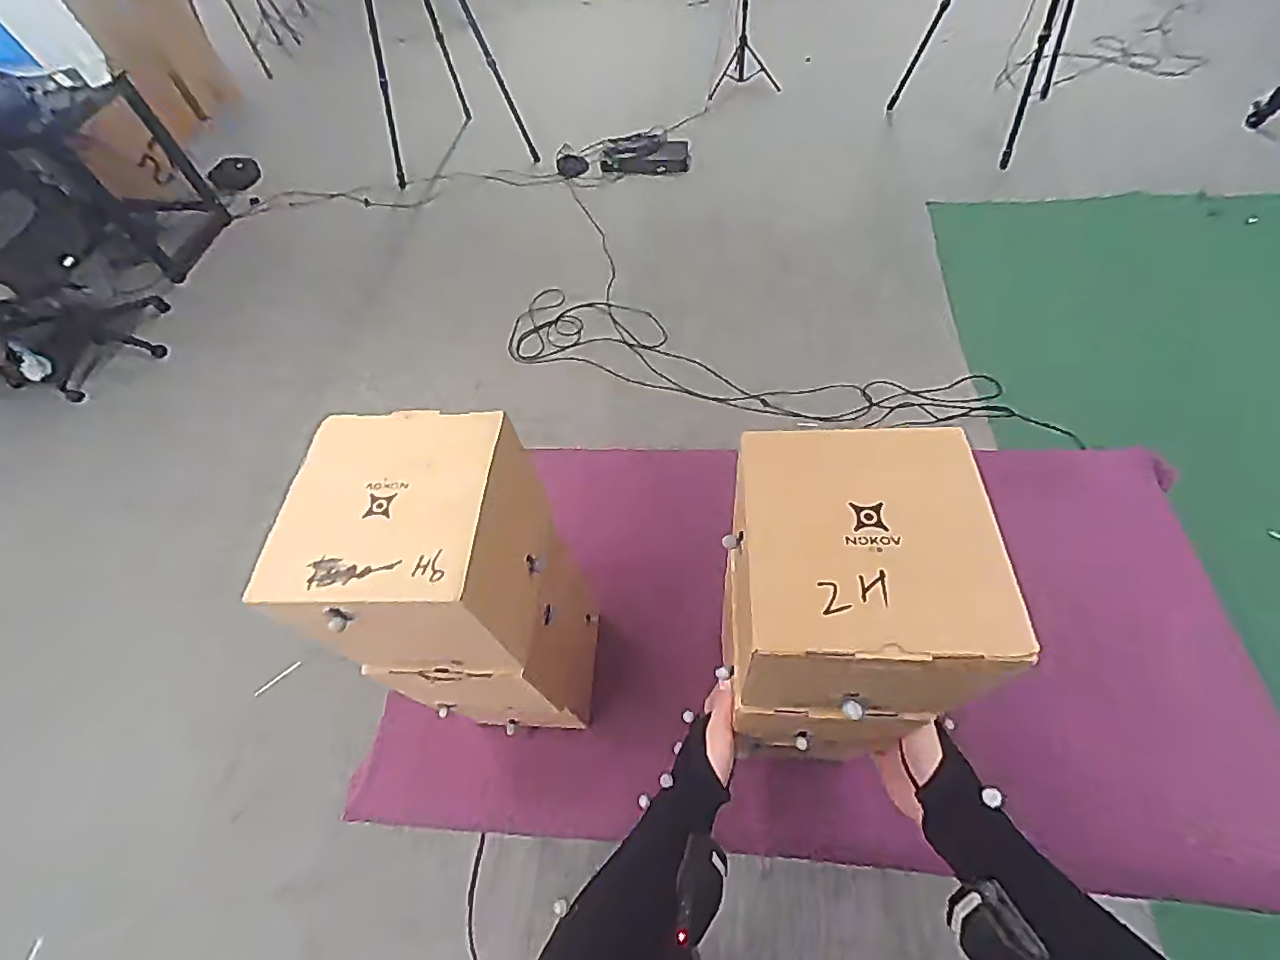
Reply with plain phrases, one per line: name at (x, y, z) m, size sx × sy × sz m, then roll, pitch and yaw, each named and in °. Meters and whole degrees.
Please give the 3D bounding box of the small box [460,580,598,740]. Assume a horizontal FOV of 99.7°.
small box at (-0.157, 0.252, 0.757) m, size 0.168 × 0.176 × 0.179 m, roll -1°, pitch 56°, yaw 7°

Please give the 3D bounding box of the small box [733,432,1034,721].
small box at (0.163, 0.081, 0.436) m, size 0.168 × 0.176 × 0.179 m, roll -1°, pitch 56°, yaw 8°

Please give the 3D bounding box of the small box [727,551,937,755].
small box at (0.178, 0.177, 0.568) m, size 0.168 × 0.176 × 0.179 m, roll -2°, pitch 56°, yaw 7°

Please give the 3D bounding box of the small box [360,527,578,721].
small box at (-0.174, 0.167, 0.618) m, size 0.168 × 0.176 × 0.179 m, roll -1°, pitch 55°, yaw 7°

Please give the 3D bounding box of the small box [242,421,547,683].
small box at (-0.191, 0.068, 0.487) m, size 0.168 × 0.176 × 0.179 m, roll -2°, pitch 54°, yaw 8°
